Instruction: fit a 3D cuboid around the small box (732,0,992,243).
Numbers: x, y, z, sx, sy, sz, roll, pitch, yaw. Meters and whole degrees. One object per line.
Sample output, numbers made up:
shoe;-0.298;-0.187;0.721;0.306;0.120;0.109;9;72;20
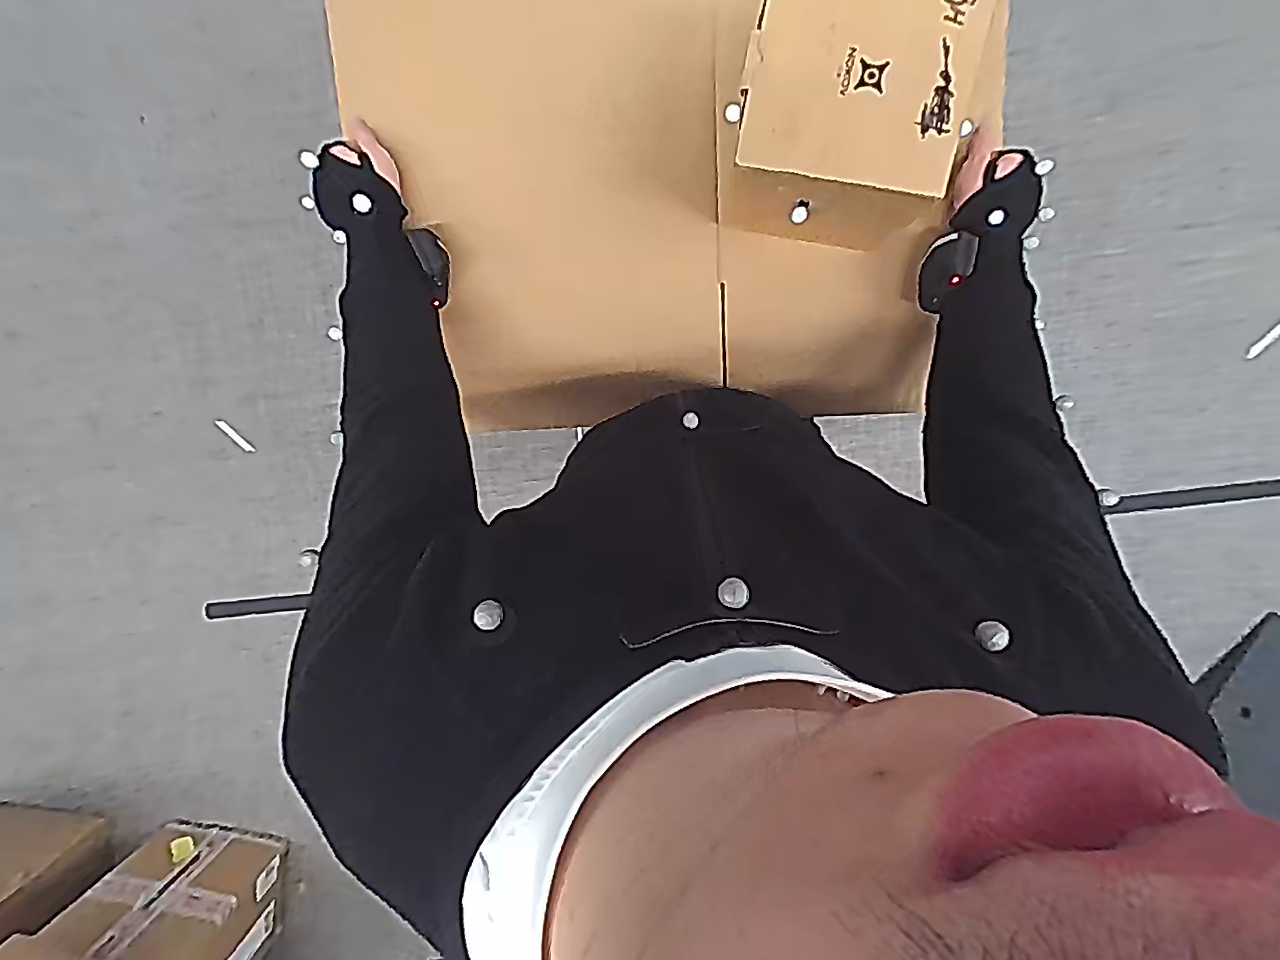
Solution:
small box;0.189;-0.342;0.517;0.179;0.176;0.168;11;100;5
